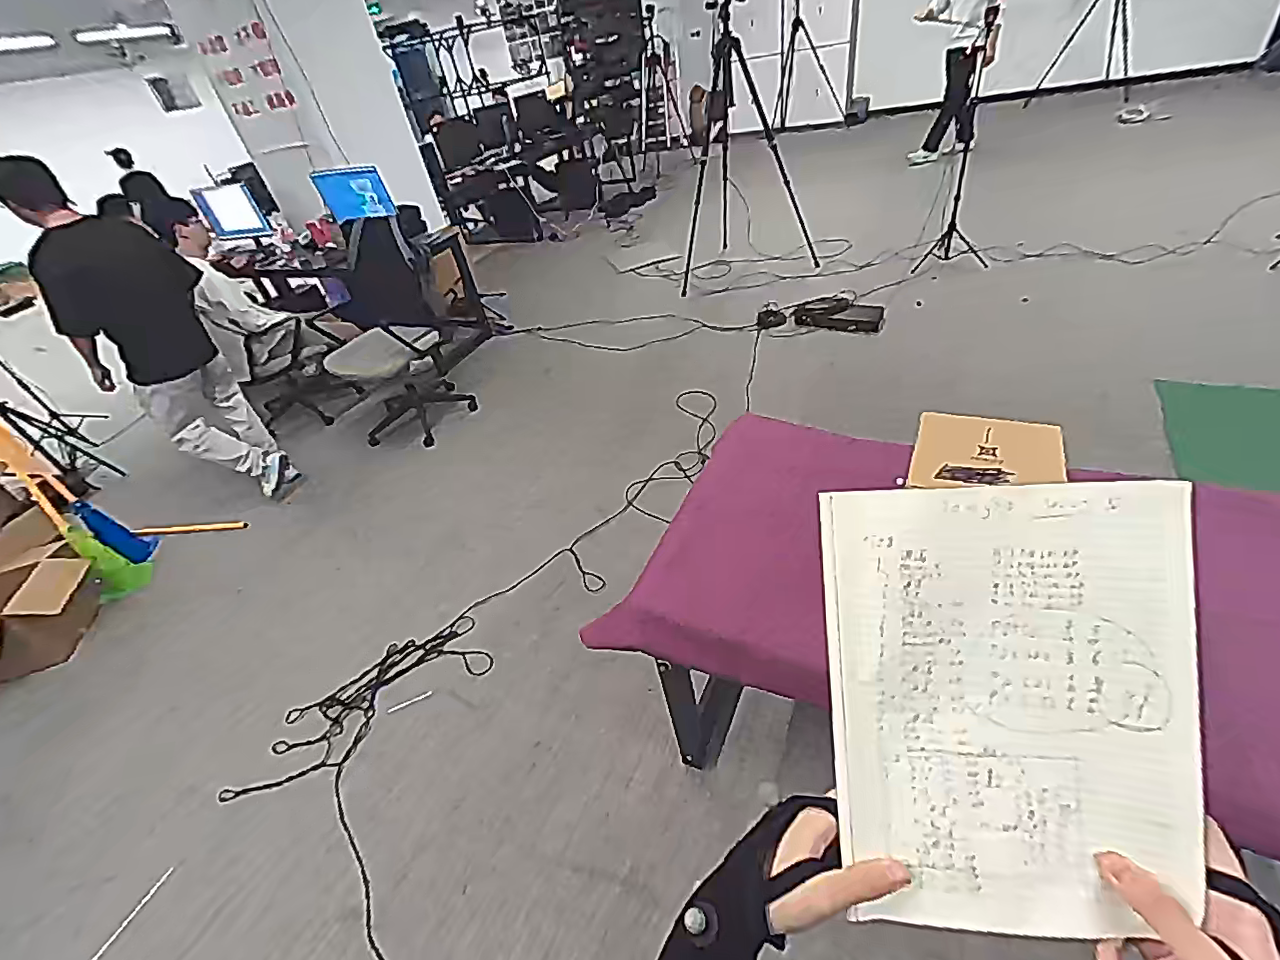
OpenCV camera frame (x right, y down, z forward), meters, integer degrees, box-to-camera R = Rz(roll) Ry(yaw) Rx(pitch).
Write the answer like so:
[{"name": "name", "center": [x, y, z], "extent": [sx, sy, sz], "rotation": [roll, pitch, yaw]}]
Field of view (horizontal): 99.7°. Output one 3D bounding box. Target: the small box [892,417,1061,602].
[{"name": "small box", "center": [0.451, 0.038, 0.740], "extent": [0.168, 0.176, 0.179], "rotation": [12, 43, 27]}]

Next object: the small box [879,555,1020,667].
[{"name": "small box", "center": [0.481, 0.161, 0.847], "extent": [0.168, 0.176, 0.179], "rotation": [12, 45, 26]}]
